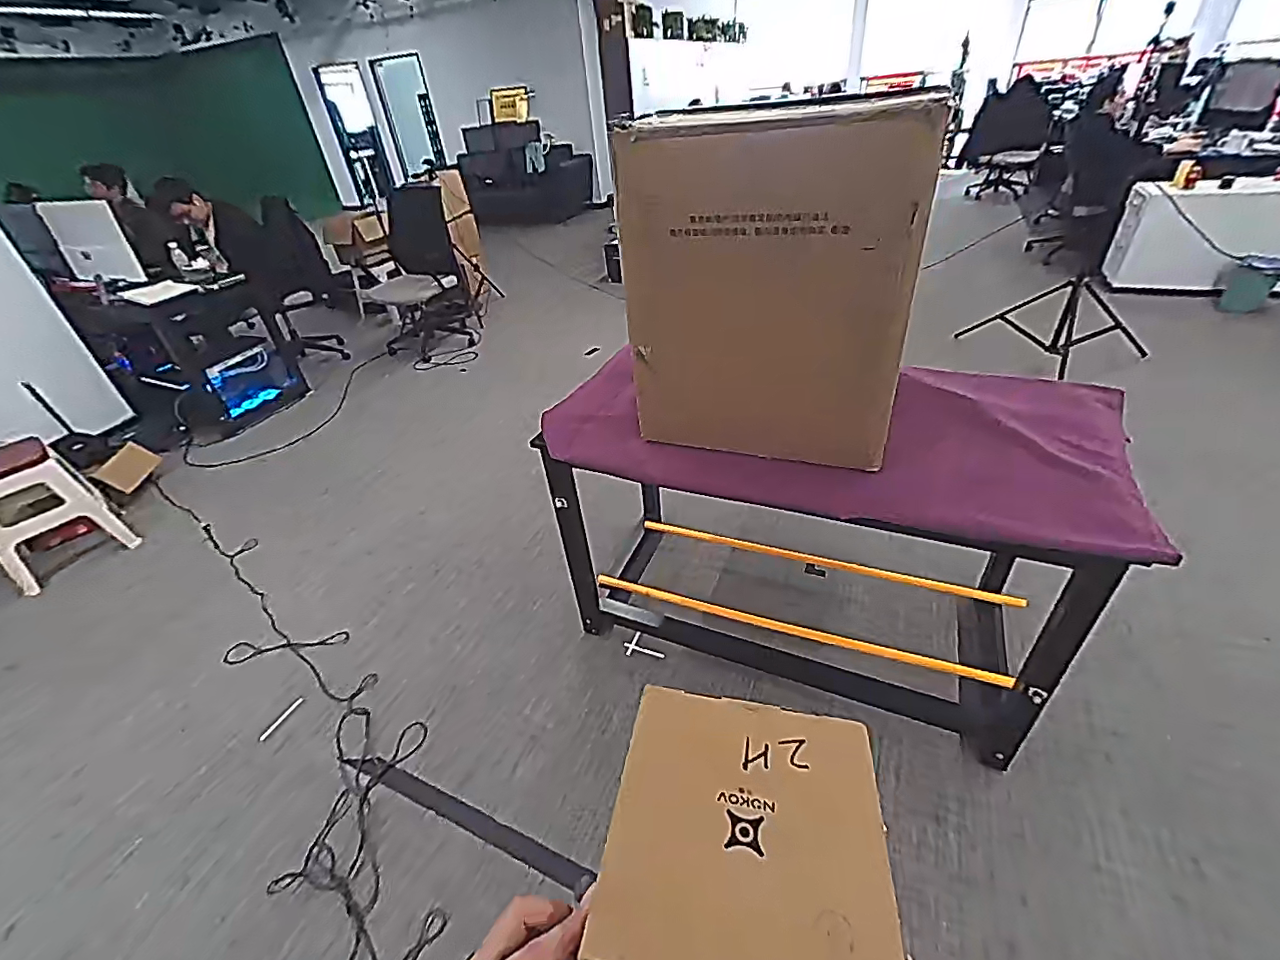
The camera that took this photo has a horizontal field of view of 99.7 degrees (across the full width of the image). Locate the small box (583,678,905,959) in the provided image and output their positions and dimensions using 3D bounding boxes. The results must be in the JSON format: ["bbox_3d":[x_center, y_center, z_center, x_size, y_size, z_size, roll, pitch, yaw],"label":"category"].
[{"bbox_3d":[0.067,0.275,0.376,0.168,0.176,0.179,6,30,10],"label":"small box"}]
